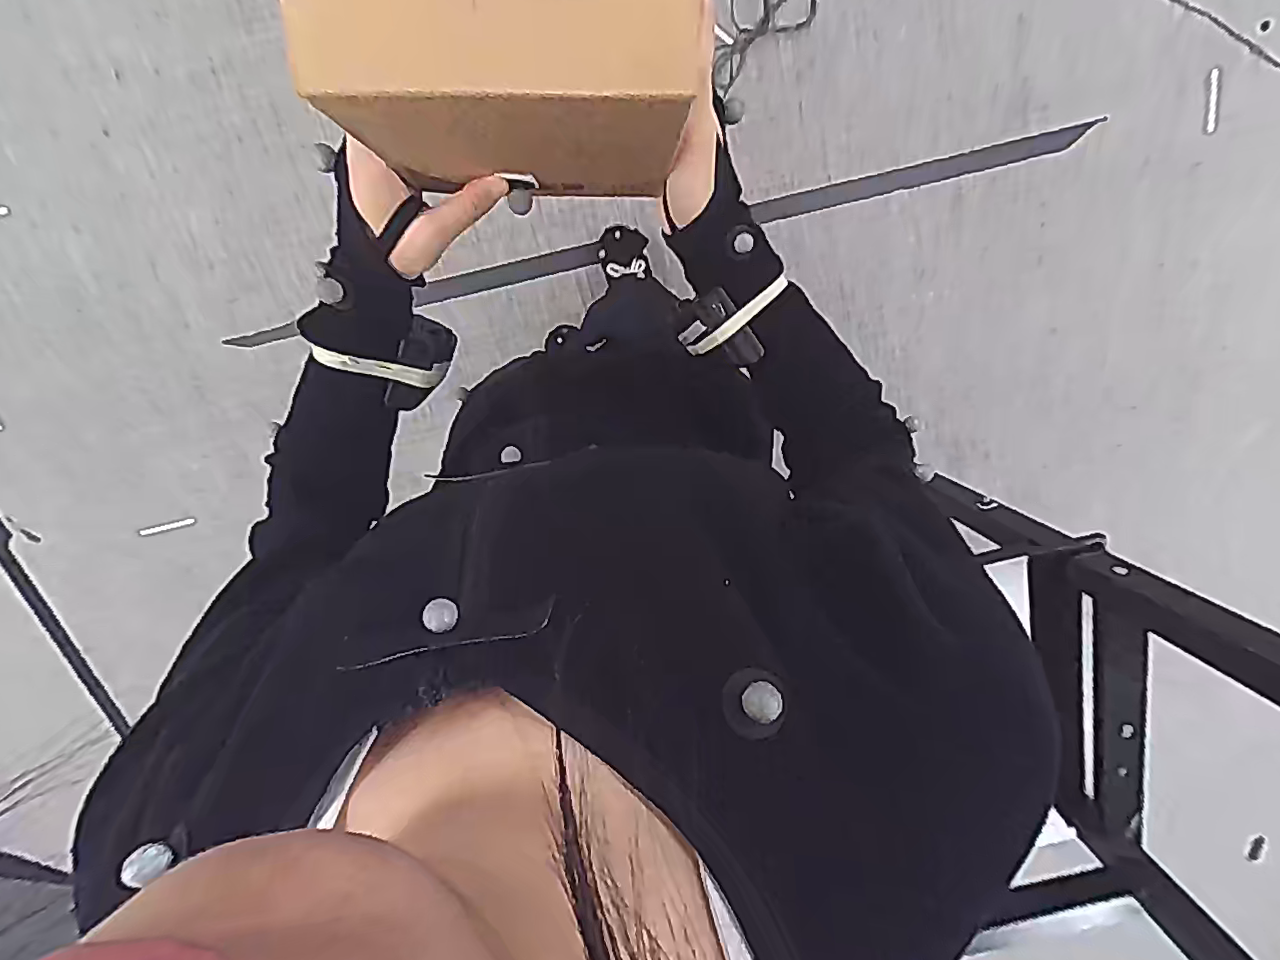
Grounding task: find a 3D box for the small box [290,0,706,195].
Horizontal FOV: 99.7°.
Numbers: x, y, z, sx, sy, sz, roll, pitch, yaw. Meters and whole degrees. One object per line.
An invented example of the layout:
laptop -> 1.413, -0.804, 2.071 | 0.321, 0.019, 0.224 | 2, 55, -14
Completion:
small box -> -0.059, -0.265, 0.278 | 0.168, 0.176, 0.179 | -2, 105, -2
